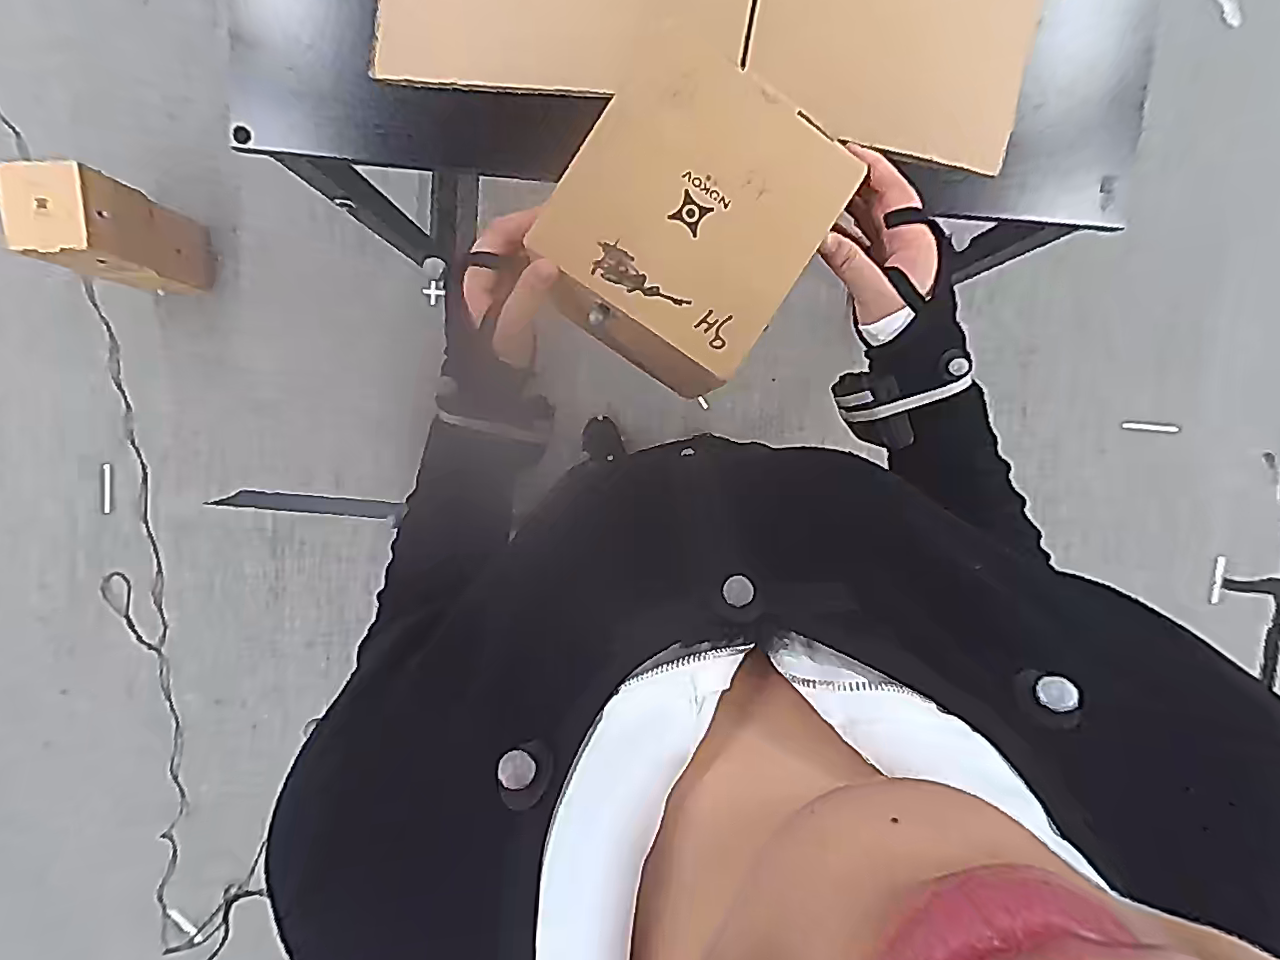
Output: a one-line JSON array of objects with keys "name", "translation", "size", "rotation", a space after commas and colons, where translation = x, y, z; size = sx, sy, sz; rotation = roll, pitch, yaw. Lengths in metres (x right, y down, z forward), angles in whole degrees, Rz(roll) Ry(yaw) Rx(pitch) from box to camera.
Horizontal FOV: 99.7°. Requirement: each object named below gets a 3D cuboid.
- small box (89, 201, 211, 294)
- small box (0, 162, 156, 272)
[{"name": "small box", "translation": [-1.212, -0.573, 1.343], "size": [0.168, 0.176, 0.179], "rotation": [1, 96, 0]}, {"name": "small box", "translation": [-1.212, -0.563, 1.181], "size": [0.168, 0.176, 0.179], "rotation": [-3, 95, -1]}]
